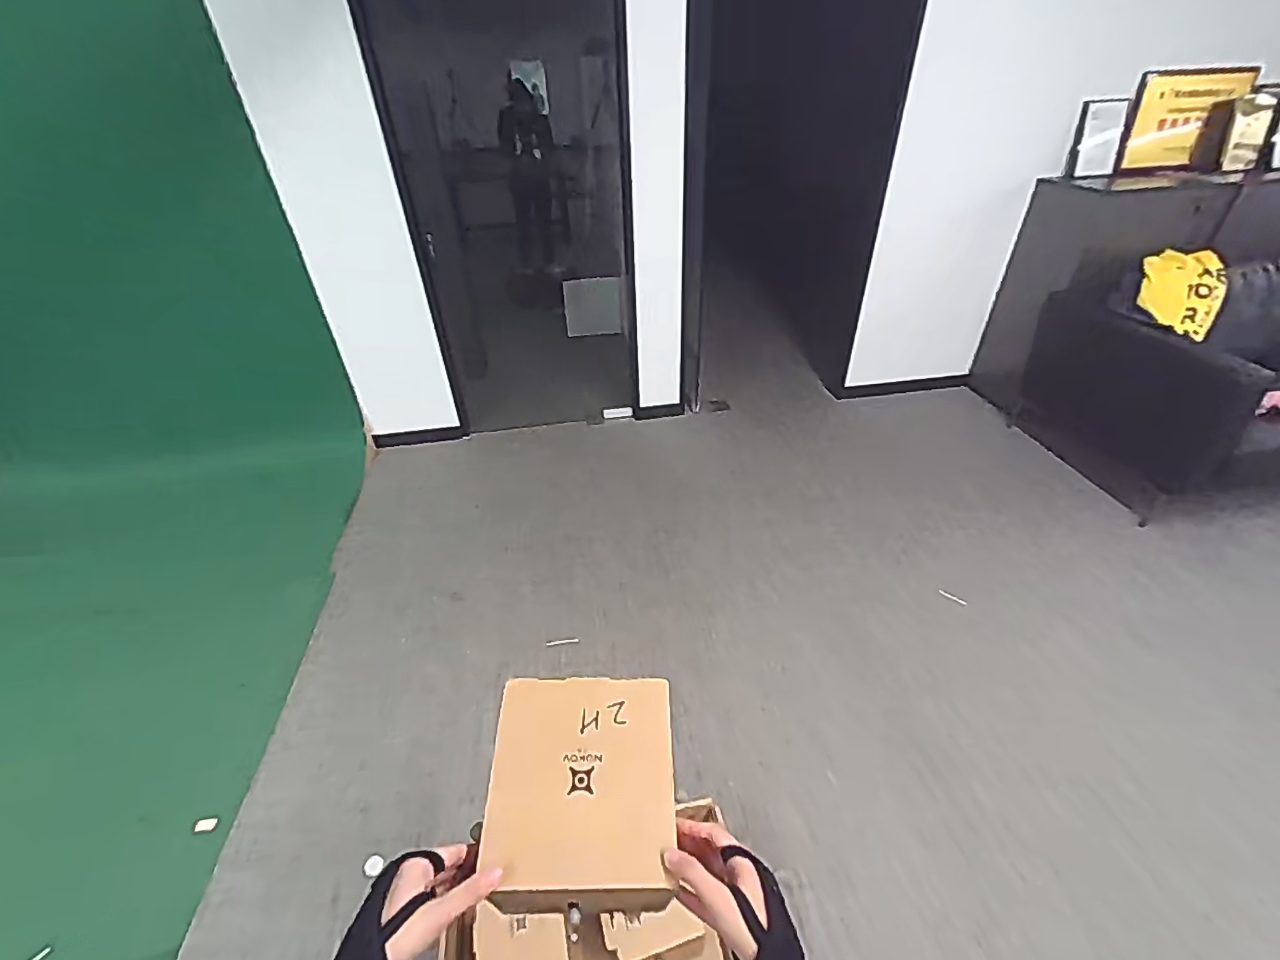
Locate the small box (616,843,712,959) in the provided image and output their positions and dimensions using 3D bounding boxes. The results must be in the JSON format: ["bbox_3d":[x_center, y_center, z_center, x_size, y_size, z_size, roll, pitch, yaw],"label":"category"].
[{"bbox_3d":[0.042,0.917,1.144,0.179,0.176,0.168,-12,39,-12],"label":"small box"}]

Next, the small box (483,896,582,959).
[{"bbox_3d":[-0.220,0.949,1.120,0.179,0.176,0.168,-9,39,-10],"label":"small box"}]

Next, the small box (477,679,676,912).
[{"bbox_3d":[-0.052,0.321,0.549,0.168,0.176,0.179,1,46,-2],"label":"small box"}]
